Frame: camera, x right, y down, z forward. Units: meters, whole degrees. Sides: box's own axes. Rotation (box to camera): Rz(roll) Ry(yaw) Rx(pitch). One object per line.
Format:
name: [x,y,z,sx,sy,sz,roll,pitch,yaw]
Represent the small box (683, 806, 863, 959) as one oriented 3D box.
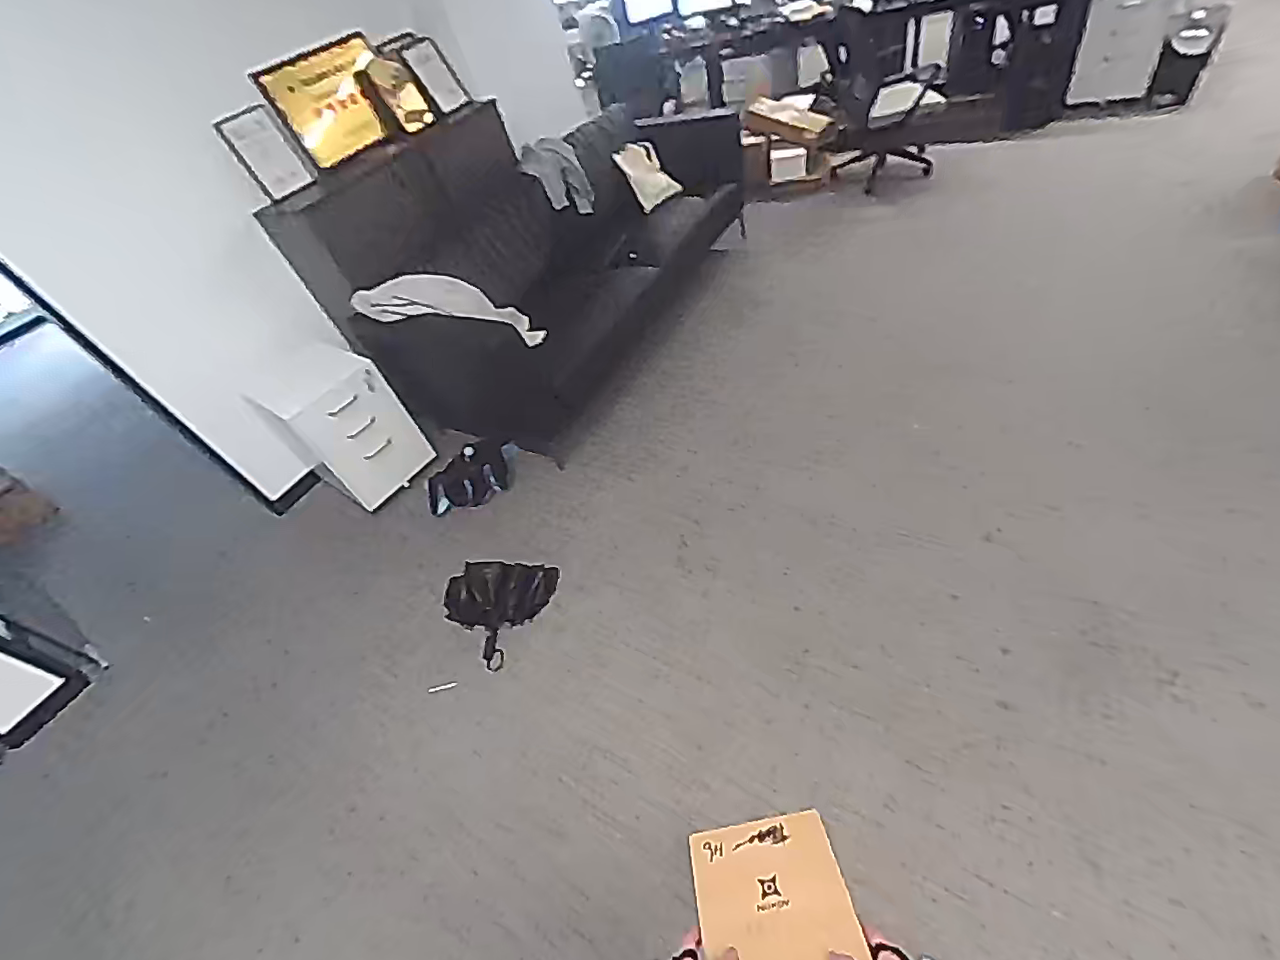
small box: [0.155,0.528,0.625,0.168,0.176,0.179,-14,21,2]
